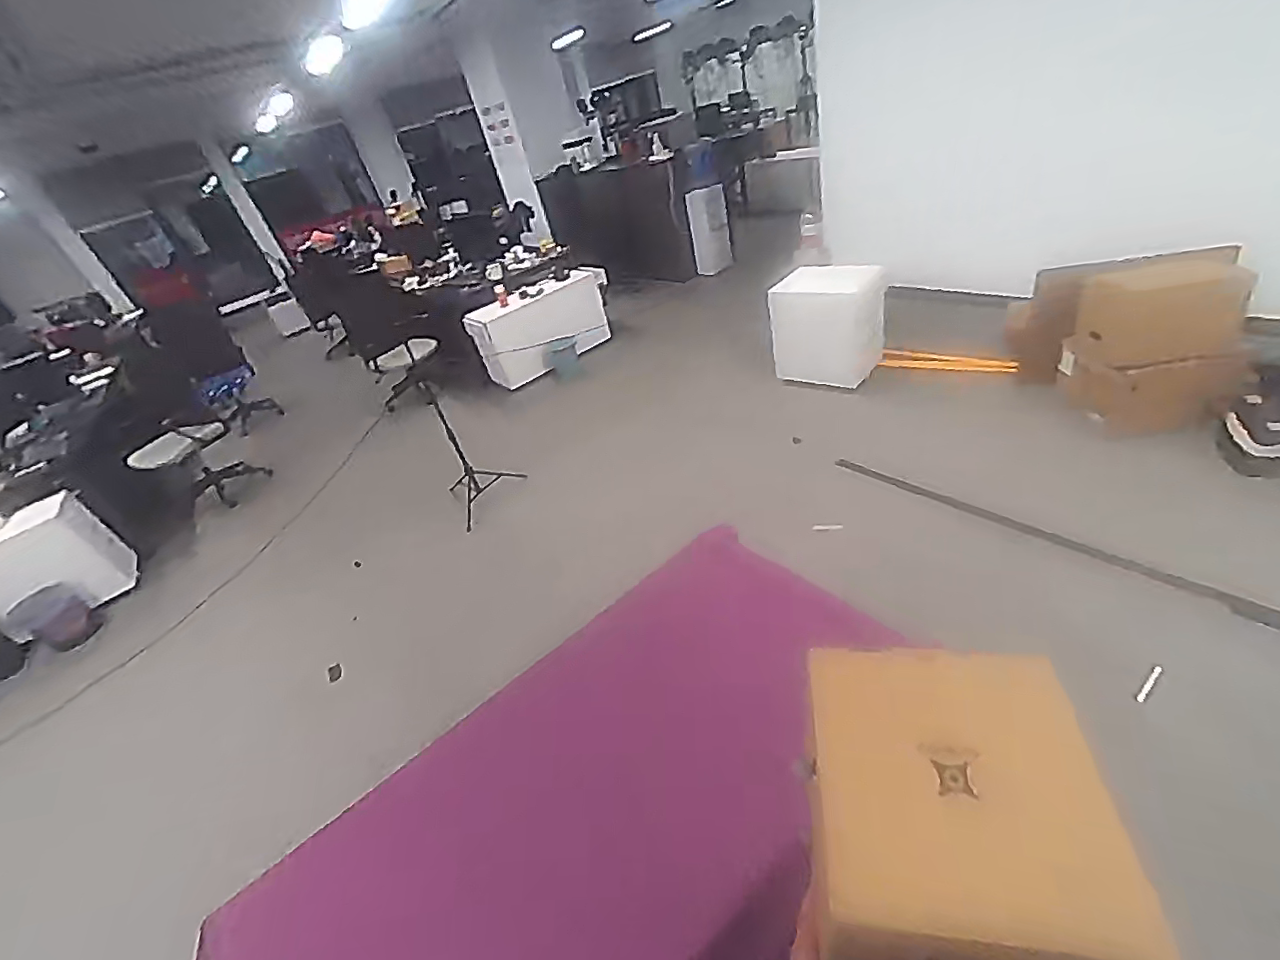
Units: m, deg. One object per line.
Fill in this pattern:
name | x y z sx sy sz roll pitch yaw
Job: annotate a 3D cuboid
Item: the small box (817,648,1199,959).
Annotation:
small box | 0.220 0.244 0.387 0.168 0.176 0.179 -3 39 15
